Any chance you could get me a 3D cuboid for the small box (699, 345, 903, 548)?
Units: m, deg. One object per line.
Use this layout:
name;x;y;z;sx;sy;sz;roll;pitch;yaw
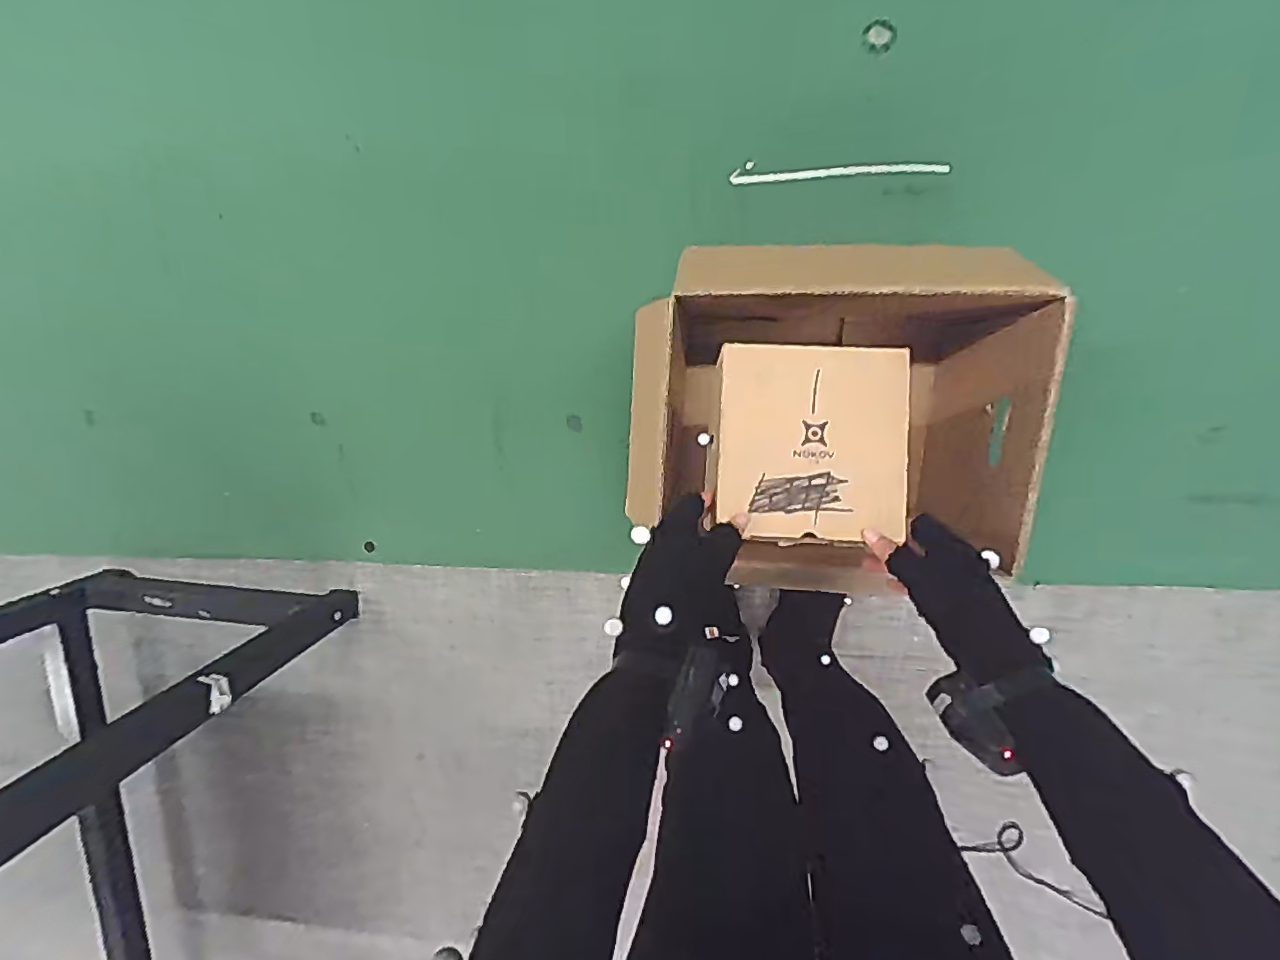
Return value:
small box;0.152;-0.028;0.562;0.168;0.176;0.179;3;87;3
